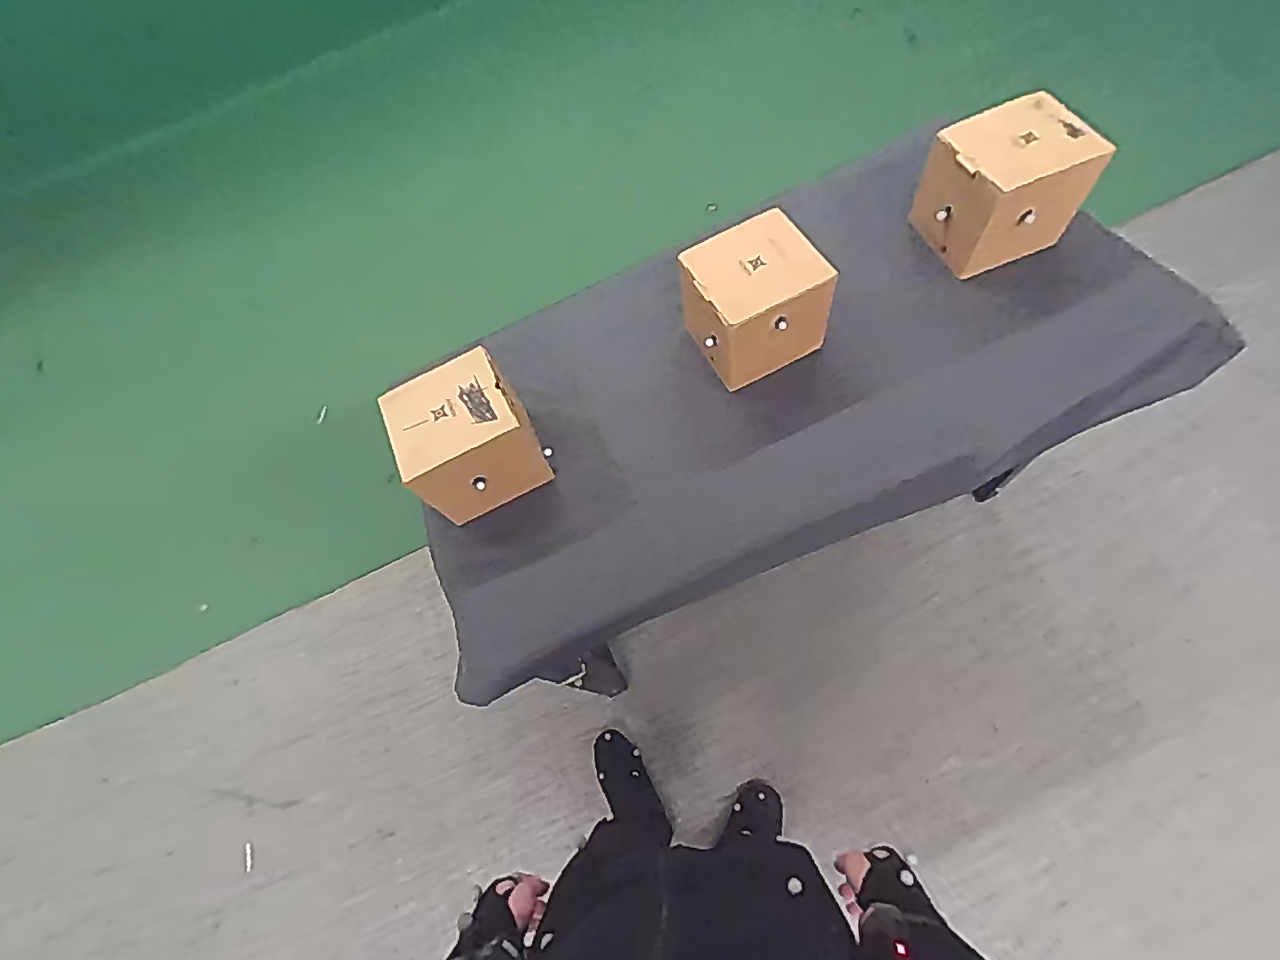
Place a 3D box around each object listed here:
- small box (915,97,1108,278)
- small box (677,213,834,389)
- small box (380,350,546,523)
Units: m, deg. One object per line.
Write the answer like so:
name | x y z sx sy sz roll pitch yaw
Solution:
small box | 0.573 -0.461 0.872 0.179 0.176 0.168 -21 64 1
small box | 0.177 -0.276 0.863 0.179 0.176 0.168 -26 65 -4
small box | -0.261 -0.060 0.839 0.179 0.176 0.168 -27 63 -2
